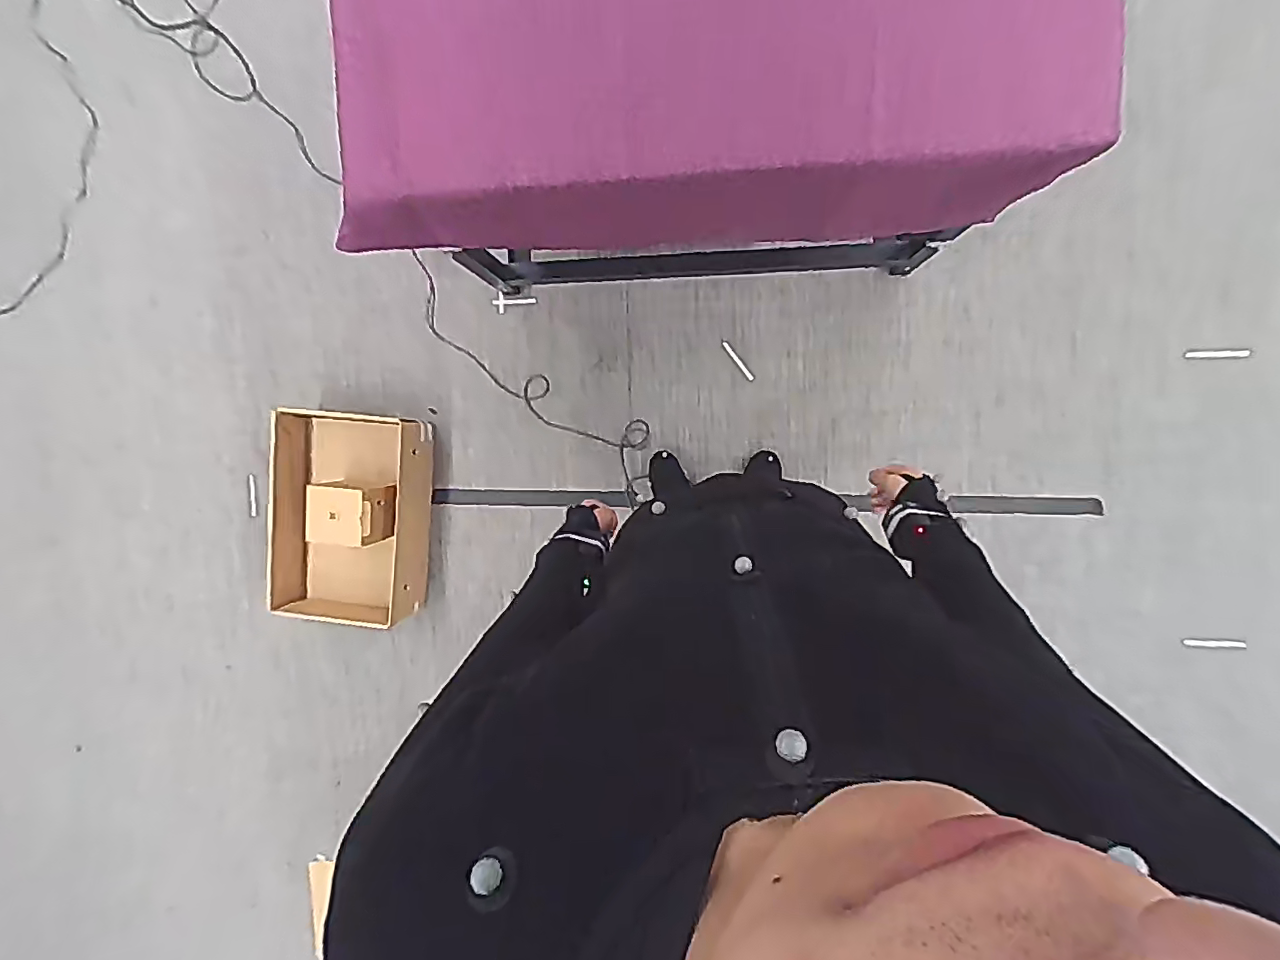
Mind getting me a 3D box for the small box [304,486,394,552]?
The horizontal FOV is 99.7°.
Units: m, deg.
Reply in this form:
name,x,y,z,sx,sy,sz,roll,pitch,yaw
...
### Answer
name,x,y,z,sx,sy,sz,roll,pitch,yaw
small box,-0.859,0.110,1.610,0.179,0.176,0.168,6,94,6
